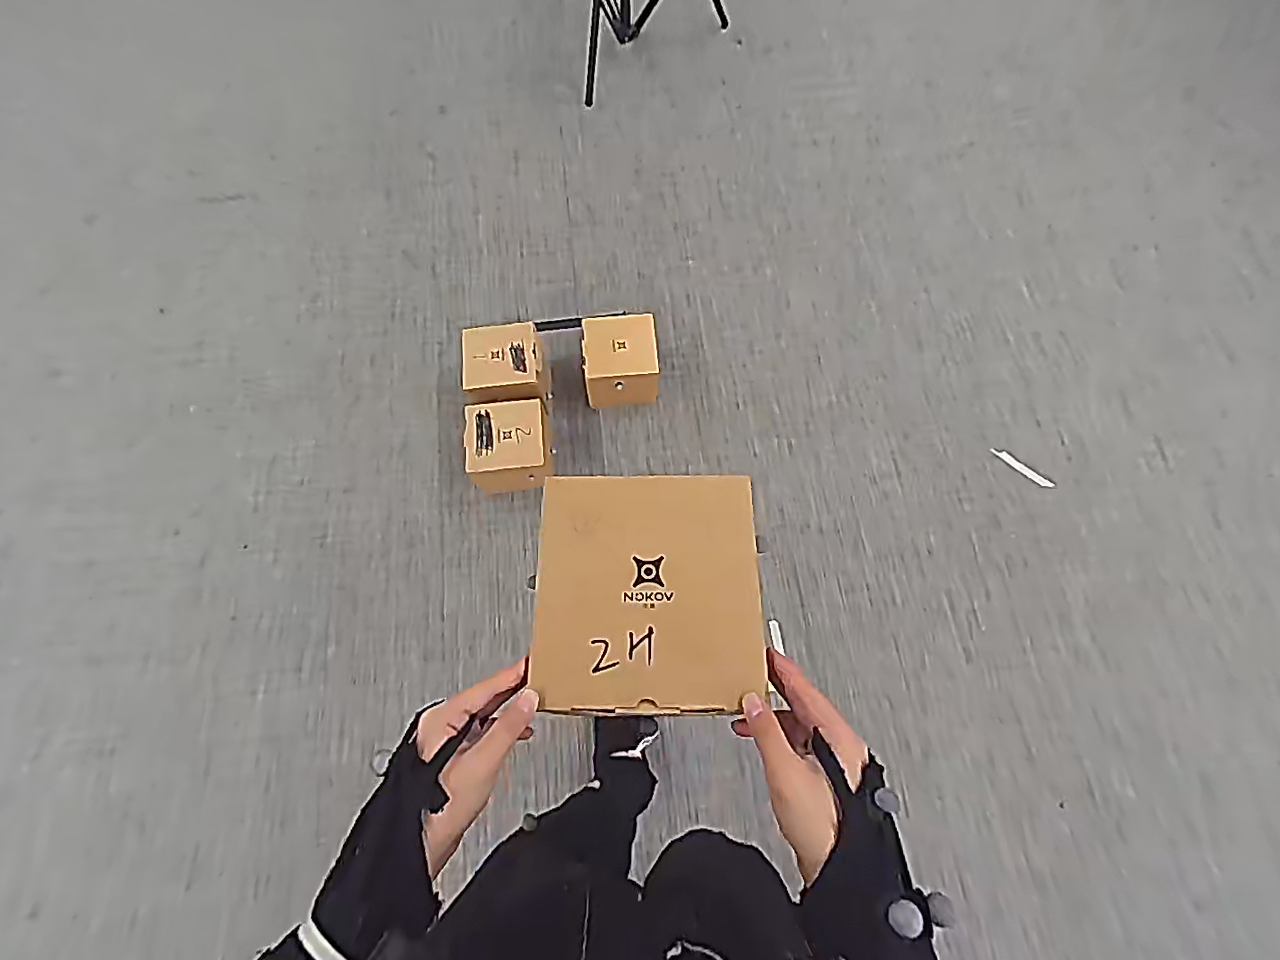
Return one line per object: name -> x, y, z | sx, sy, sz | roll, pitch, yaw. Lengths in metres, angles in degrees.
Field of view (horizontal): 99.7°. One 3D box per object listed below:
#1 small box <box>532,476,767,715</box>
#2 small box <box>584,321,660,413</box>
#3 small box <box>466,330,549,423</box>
small box -> 0.009, 0.109, 0.478 | 0.168, 0.176, 0.179 | -1, 66, 2
small box -> -0.045, -0.283, 1.373 | 0.179, 0.176, 0.168 | -5, 72, -1
small box -> -0.328, -0.255, 1.365 | 0.179, 0.176, 0.168 | -6, 72, -1
